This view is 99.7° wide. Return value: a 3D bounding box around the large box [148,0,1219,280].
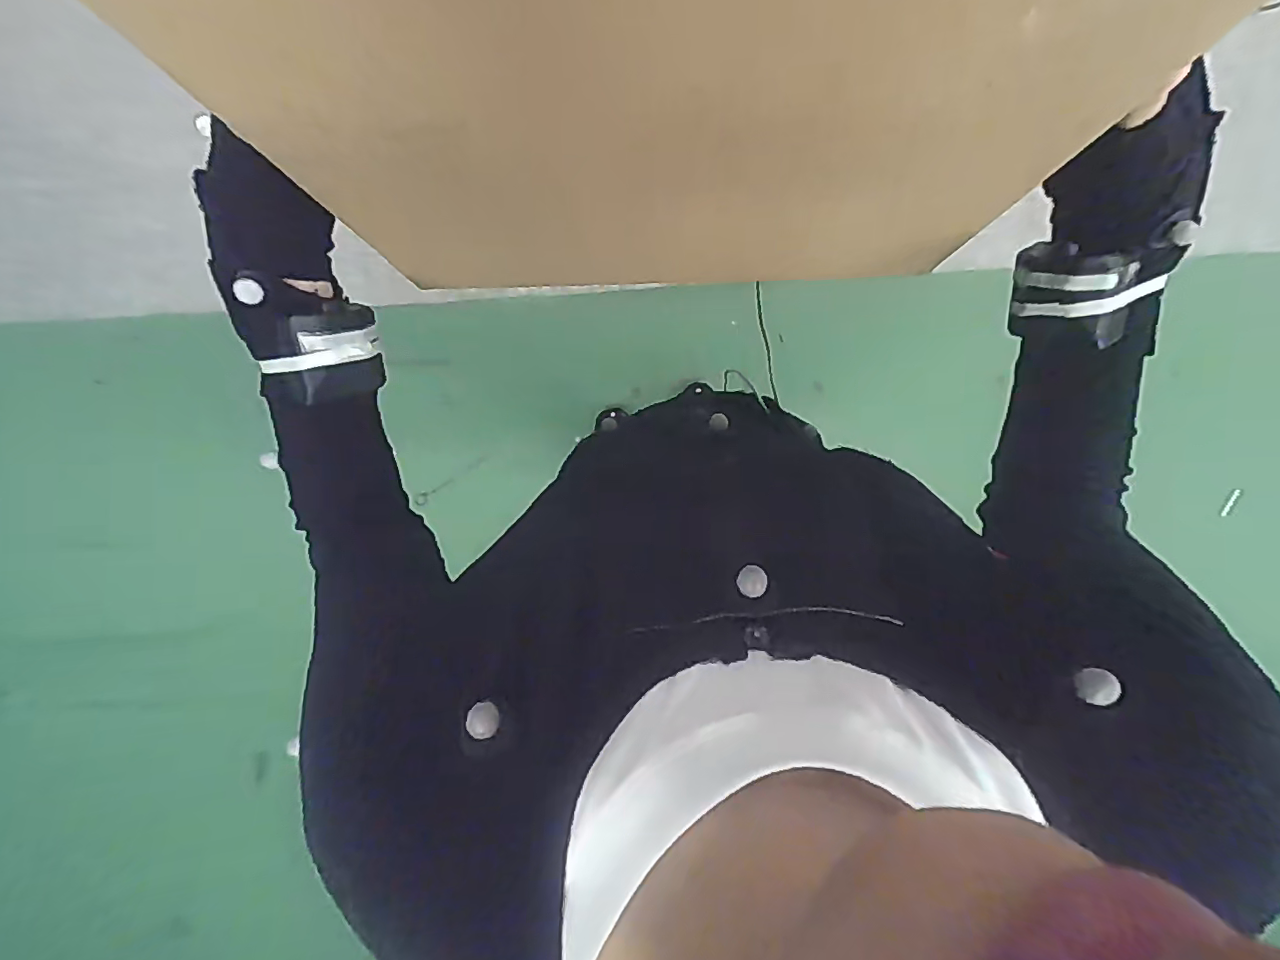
[{"bbox_3d":[0.019,-0.319,0.281,0.408,0.320,0.320,-1,89,1],"label":"large box"}]
